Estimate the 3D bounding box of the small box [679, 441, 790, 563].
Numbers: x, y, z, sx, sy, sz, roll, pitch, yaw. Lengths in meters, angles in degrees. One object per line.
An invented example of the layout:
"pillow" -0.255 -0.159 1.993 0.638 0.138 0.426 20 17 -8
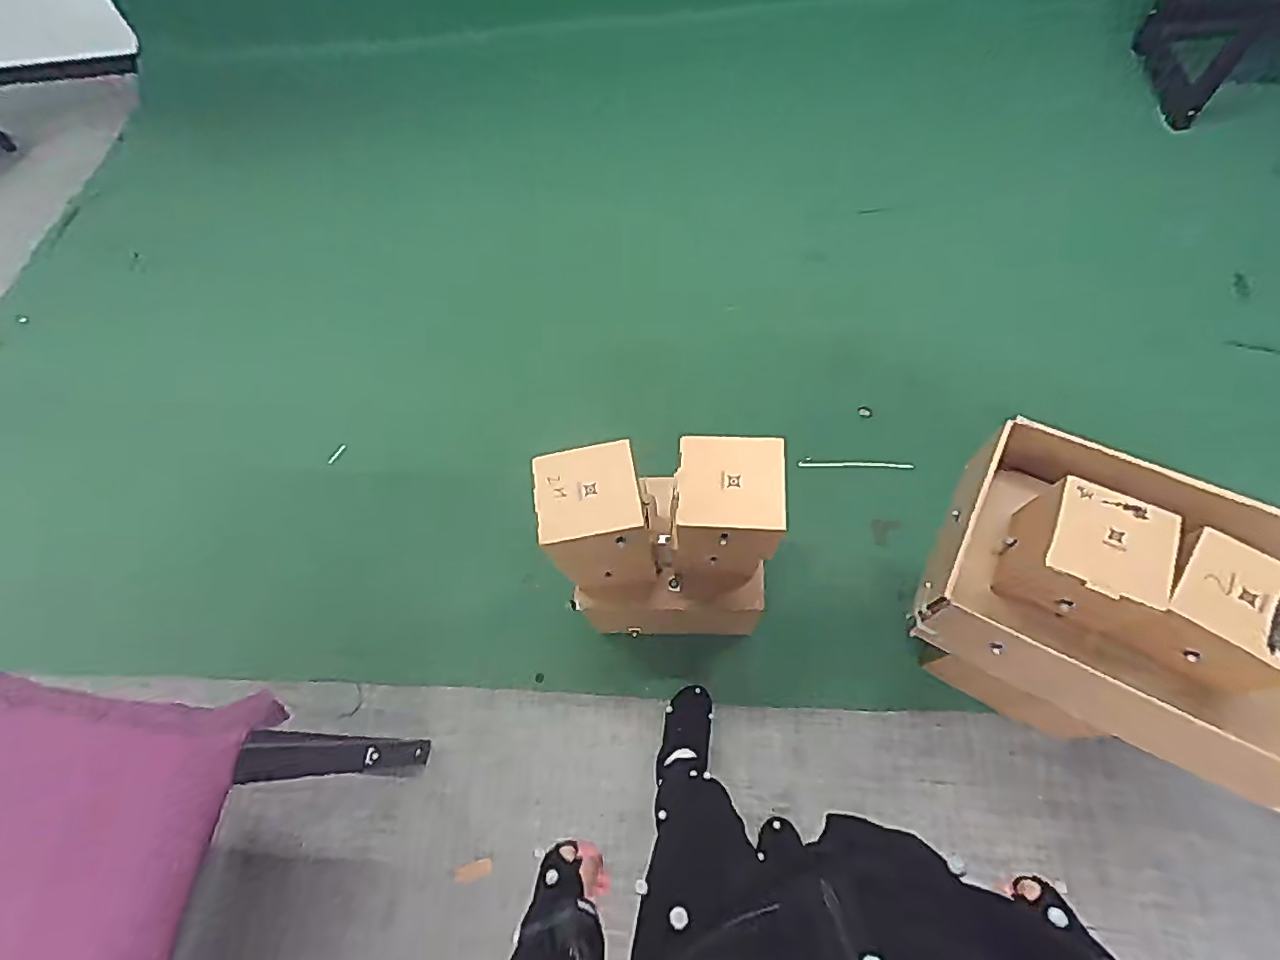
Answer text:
"small box" 0.165 0.044 0.958 0.179 0.176 0.168 1 65 9
